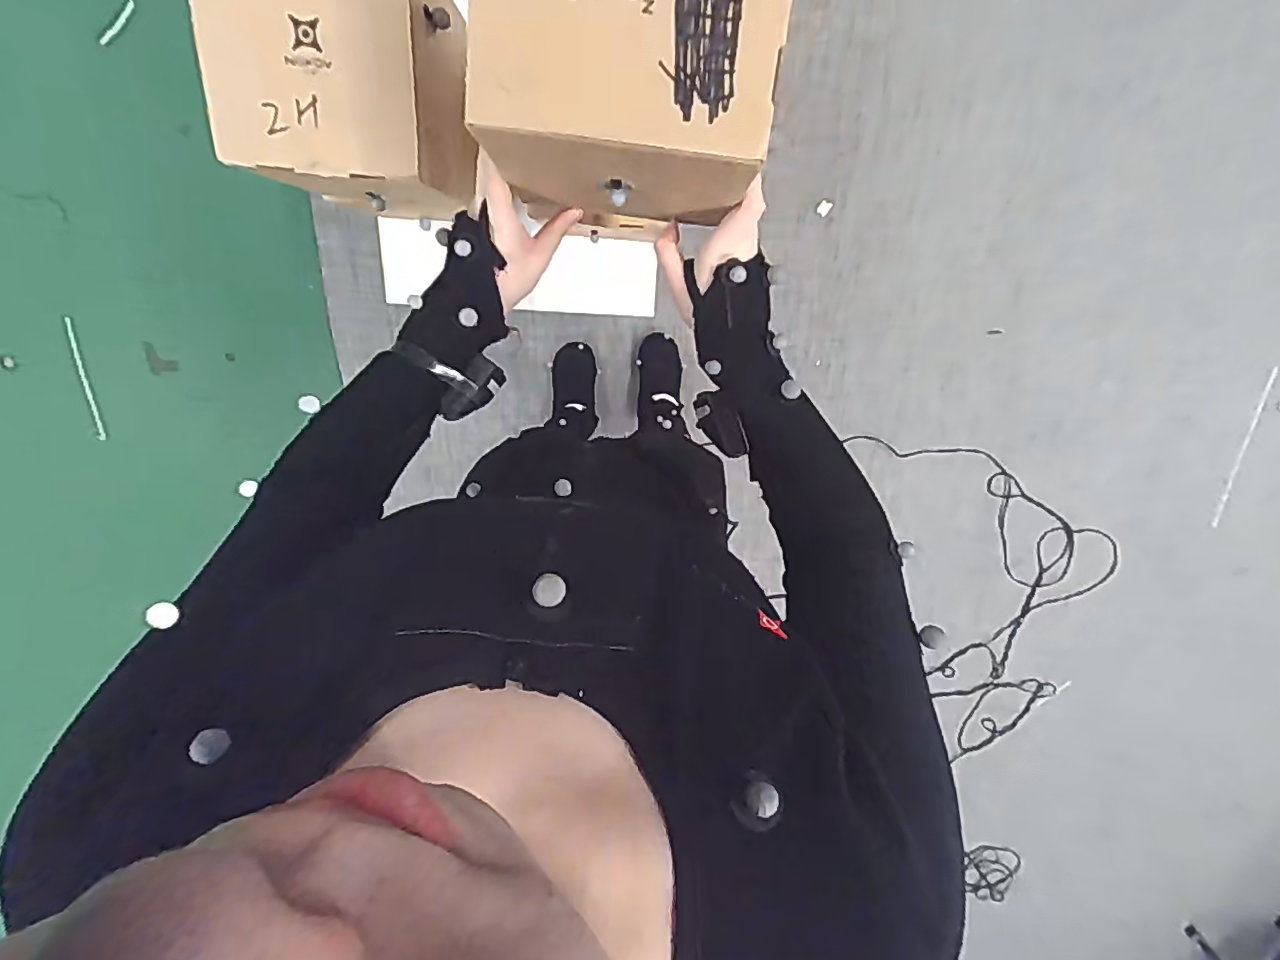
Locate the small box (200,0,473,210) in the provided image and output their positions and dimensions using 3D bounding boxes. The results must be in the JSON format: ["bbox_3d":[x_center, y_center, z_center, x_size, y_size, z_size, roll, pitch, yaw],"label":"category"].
[{"bbox_3d":[-0.258,-0.364,0.500,0.168,0.176,0.179,3,110,-3],"label":"small box"}]

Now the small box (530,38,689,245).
[{"bbox_3d":[-0.038,-0.399,0.669,0.168,0.176,0.179,4,110,-2],"label":"small box"}]

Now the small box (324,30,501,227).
[{"bbox_3d":[-0.269,-0.415,0.656,0.168,0.176,0.179,2,111,-3],"label":"small box"}]
